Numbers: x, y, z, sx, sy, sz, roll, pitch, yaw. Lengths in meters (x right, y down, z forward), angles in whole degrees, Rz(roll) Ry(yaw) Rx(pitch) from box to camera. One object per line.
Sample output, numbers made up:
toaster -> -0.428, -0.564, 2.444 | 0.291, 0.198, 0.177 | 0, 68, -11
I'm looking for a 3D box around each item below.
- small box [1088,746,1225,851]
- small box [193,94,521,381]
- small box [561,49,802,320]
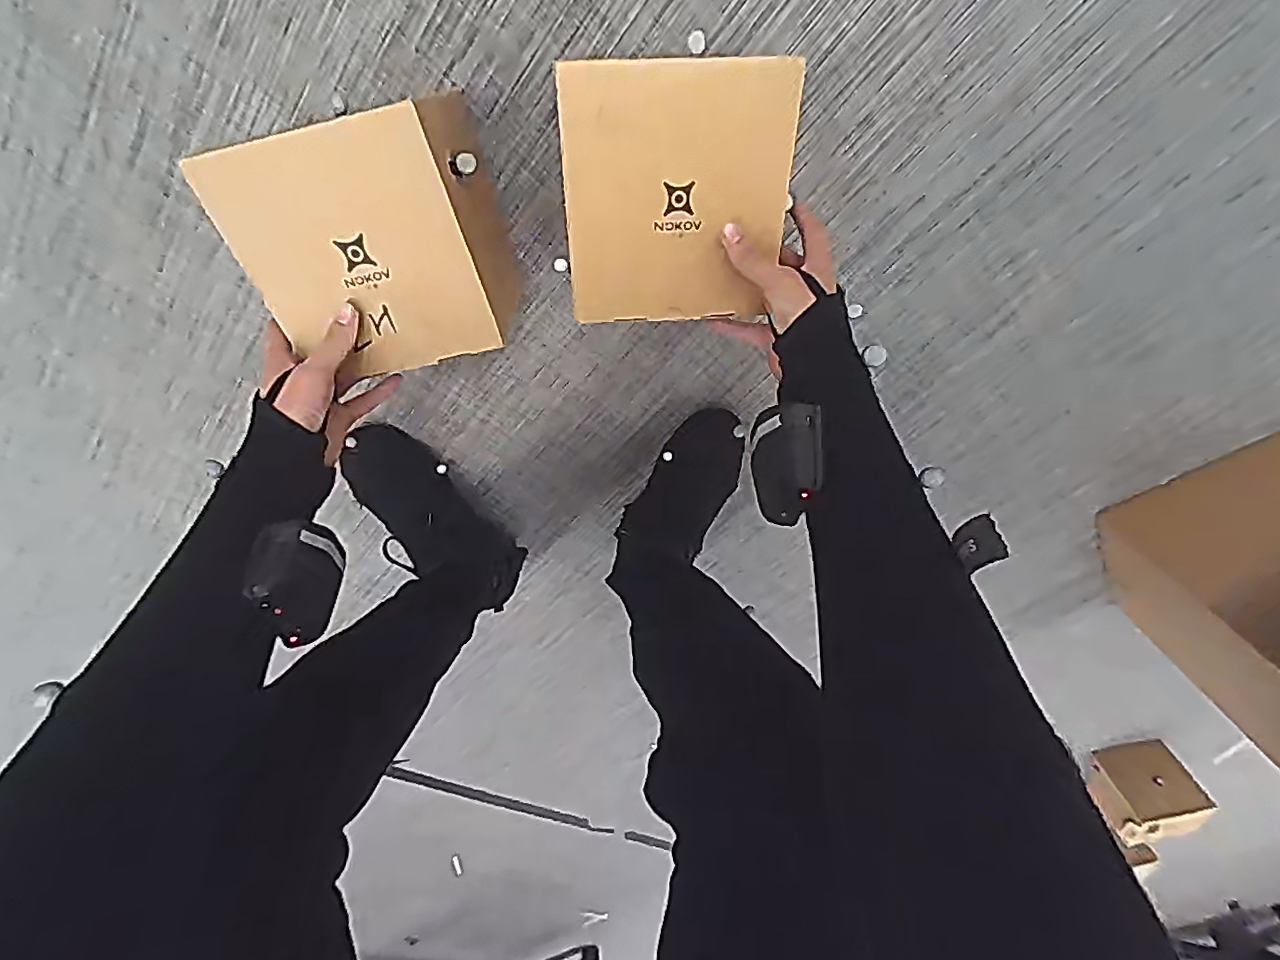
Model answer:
small box -> 1.307, 0.814, 1.387 | 0.179, 0.176, 0.168 | -16, 127, 6
small box -> -0.213, -0.215, 0.470 | 0.168, 0.176, 0.179 | -12, 128, 4
small box -> 0.021, -0.256, 0.466 | 0.168, 0.176, 0.179 | -4, 128, -3
